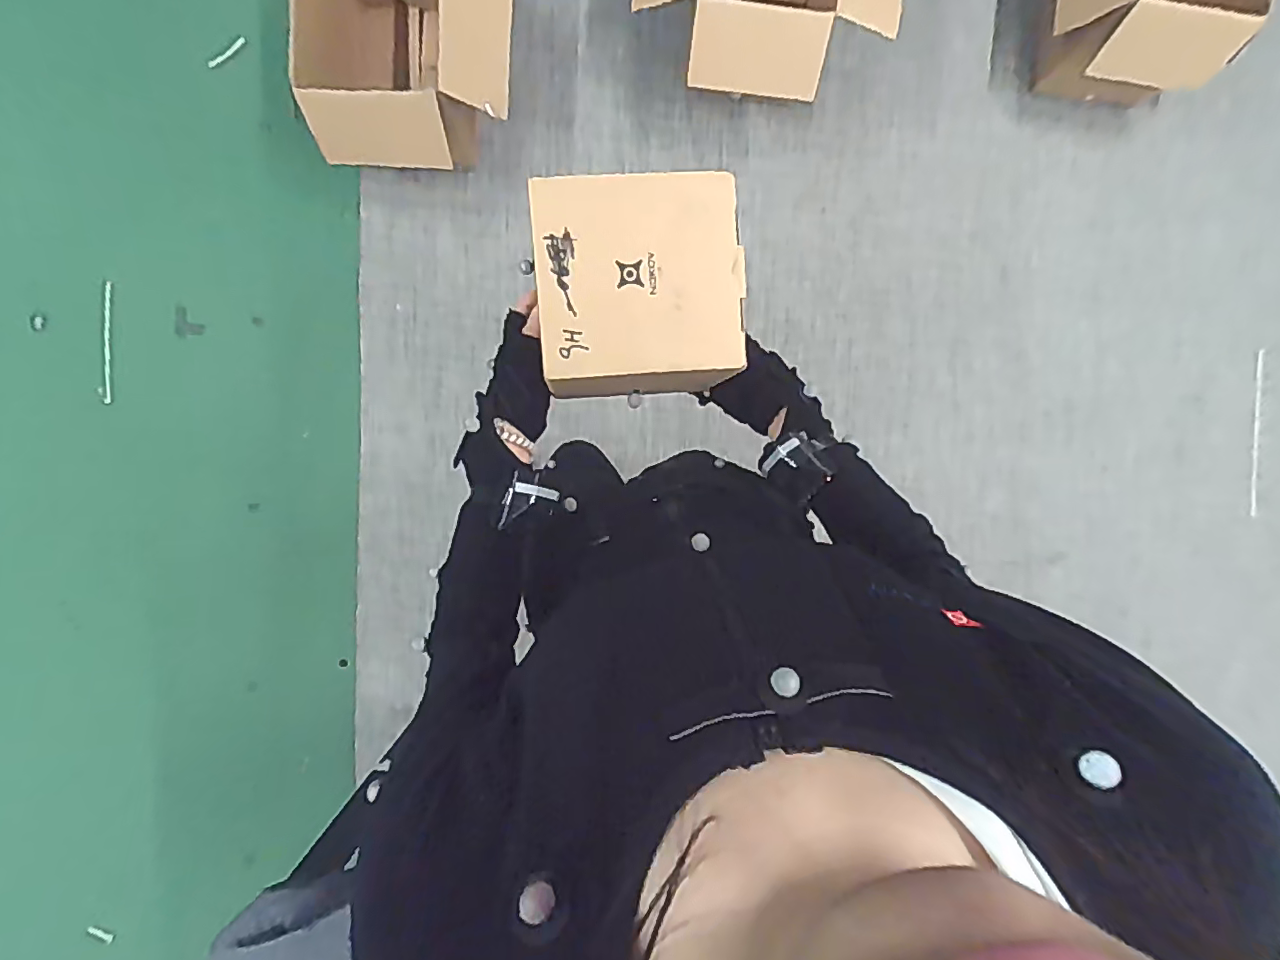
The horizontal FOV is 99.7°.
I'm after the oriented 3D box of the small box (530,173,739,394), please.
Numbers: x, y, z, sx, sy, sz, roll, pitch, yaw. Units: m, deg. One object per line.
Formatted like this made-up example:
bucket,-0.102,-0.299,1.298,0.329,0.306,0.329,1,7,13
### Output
small box,-0.012,-0.178,0.537,0.179,0.176,0.168,-3,92,-7
